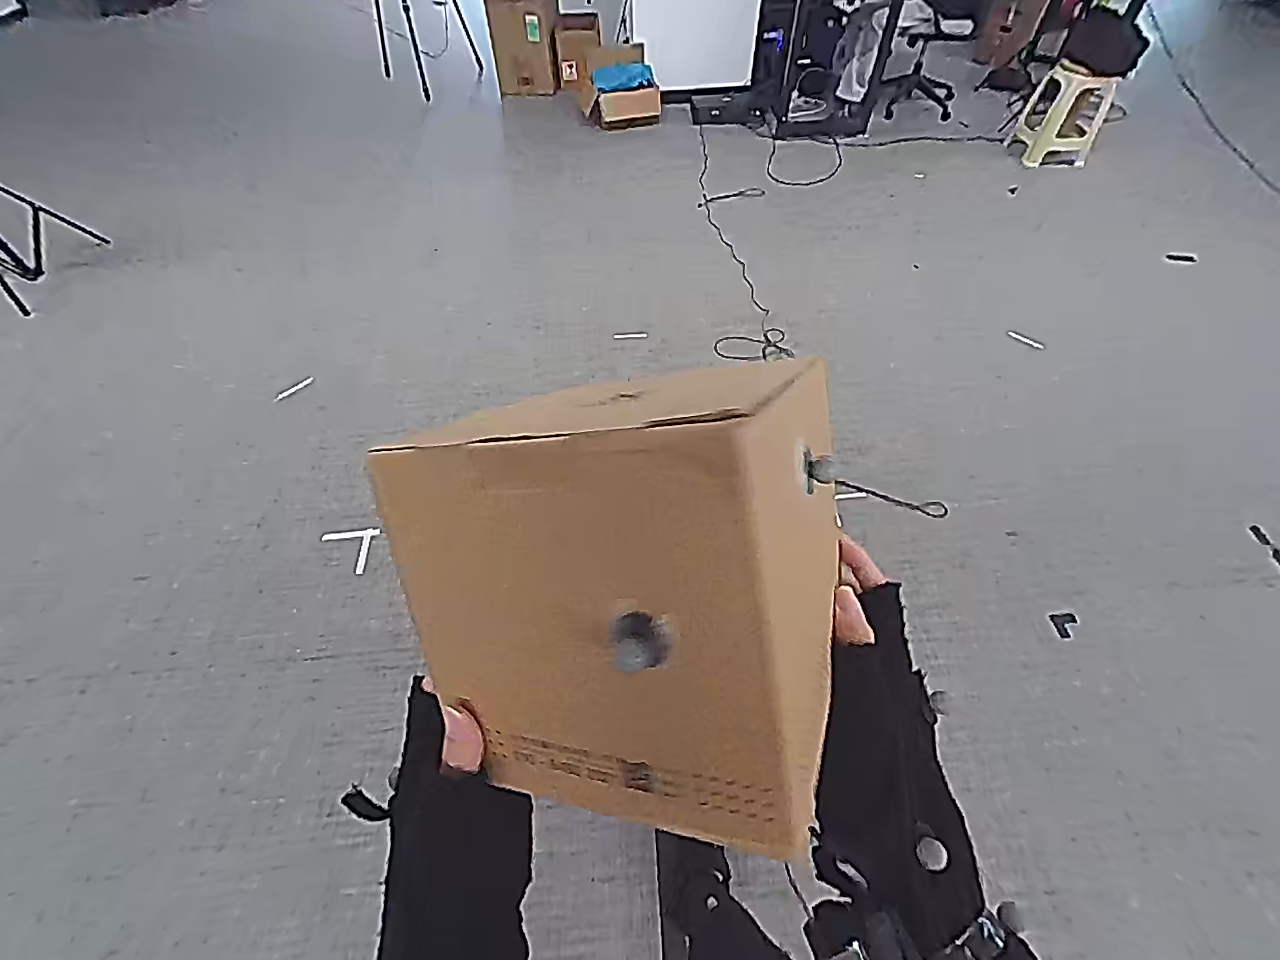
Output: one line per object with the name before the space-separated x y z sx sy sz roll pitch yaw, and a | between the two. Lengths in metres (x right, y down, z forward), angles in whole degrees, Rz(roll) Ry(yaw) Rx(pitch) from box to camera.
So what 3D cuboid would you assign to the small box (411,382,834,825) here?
small box | 0.013 0.048 0.305 0.168 0.176 0.179 -2 15 25
